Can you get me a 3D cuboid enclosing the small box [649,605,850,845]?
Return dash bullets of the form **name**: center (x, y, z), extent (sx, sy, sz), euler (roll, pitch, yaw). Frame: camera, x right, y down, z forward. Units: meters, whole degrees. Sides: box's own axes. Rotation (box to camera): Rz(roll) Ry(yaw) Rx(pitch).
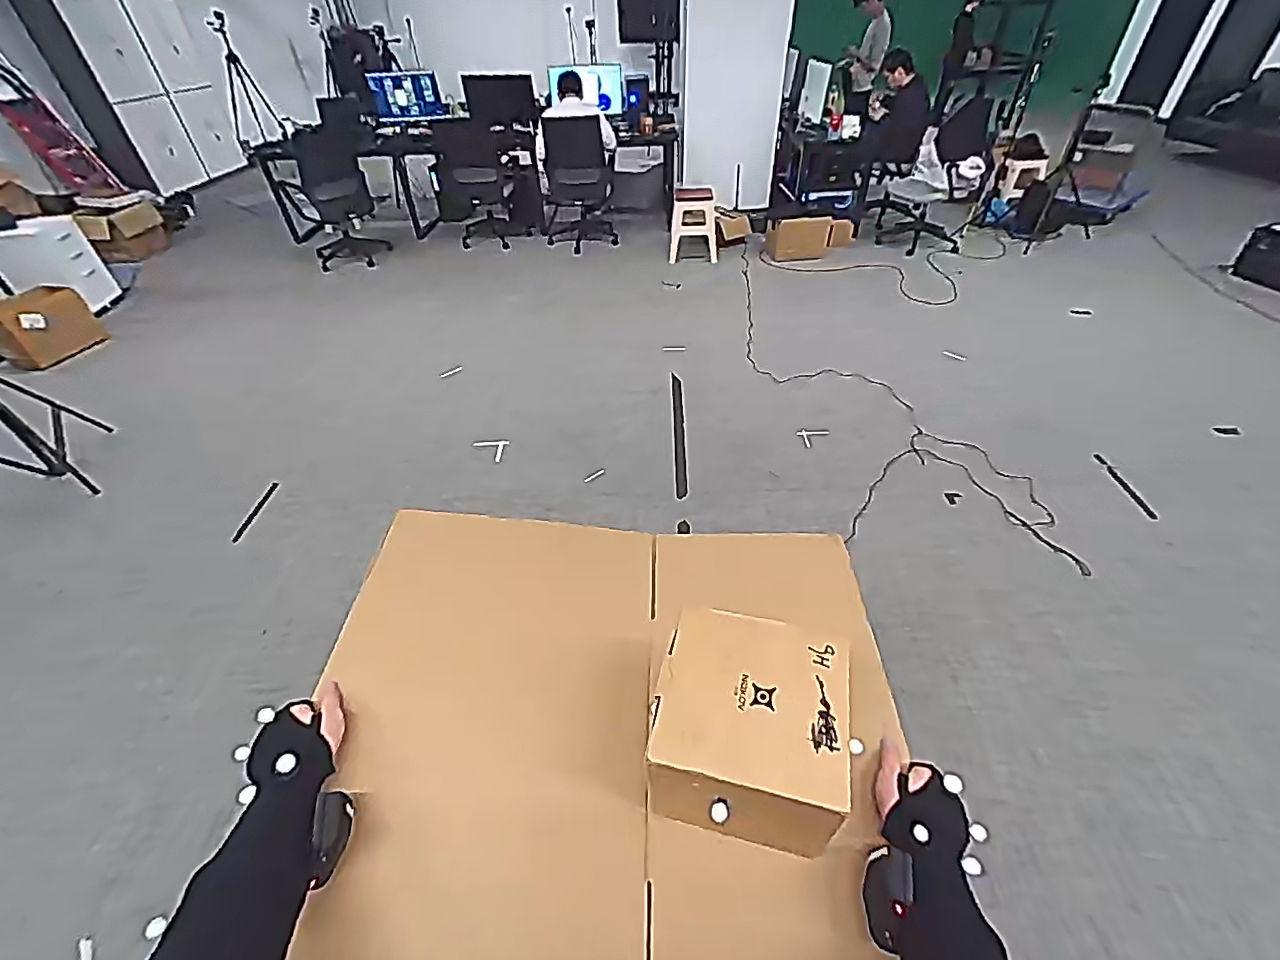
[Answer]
- **small box**: center (0.118, 0.261, 0.576), extent (0.179, 0.176, 0.168), euler (8, 46, 13)
